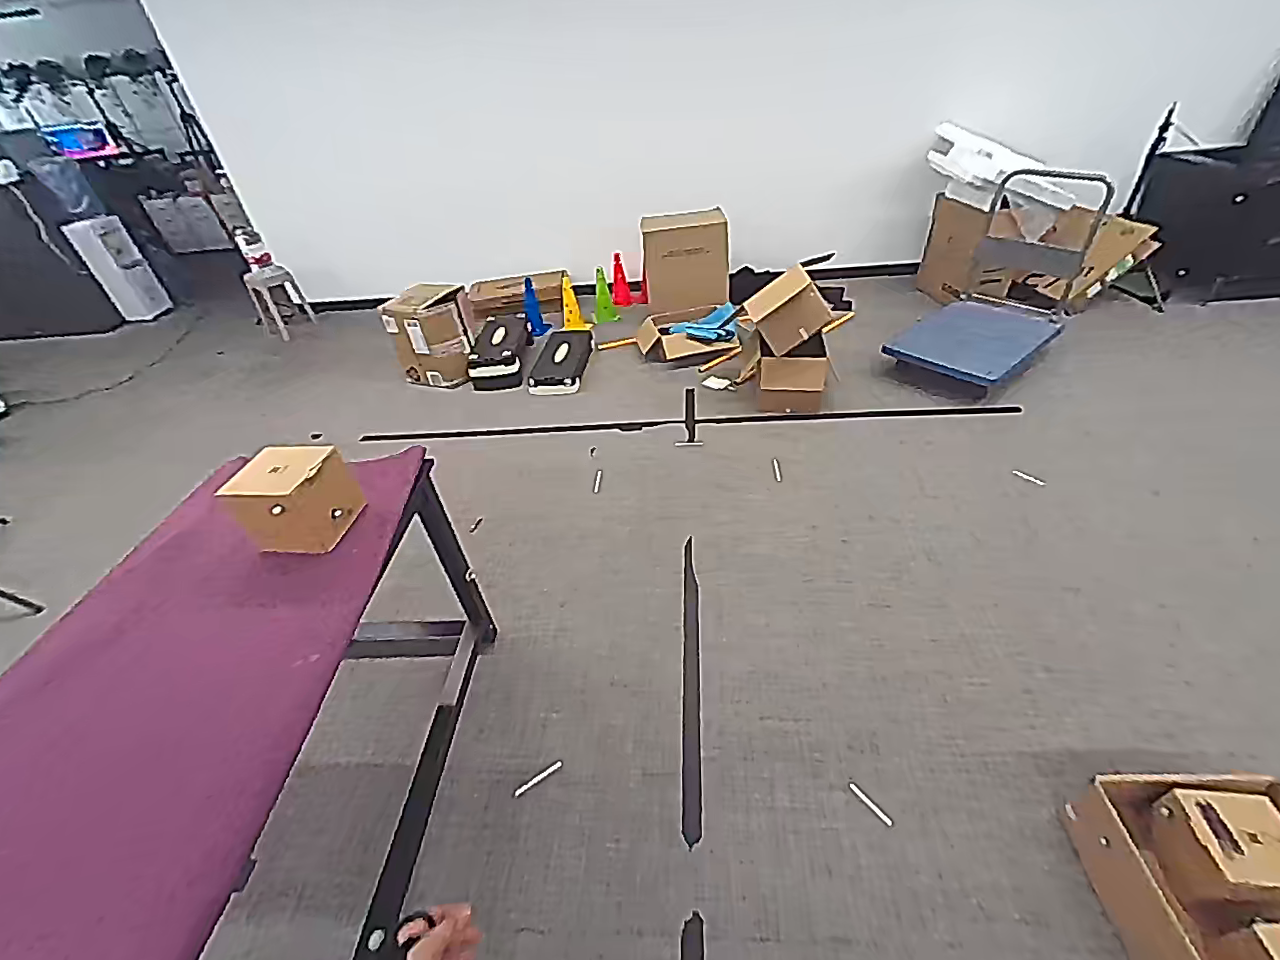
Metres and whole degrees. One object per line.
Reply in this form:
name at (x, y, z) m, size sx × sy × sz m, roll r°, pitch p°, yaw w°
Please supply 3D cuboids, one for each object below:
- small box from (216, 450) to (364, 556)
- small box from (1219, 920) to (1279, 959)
small box at (-0.746, 0.051, 1.175) m, size 0.179 × 0.176 × 0.168 m, roll -1°, pitch 39°, yaw 9°
small box at (1.193, 0.899, 0.949) m, size 0.179 × 0.176 × 0.168 m, roll -4°, pitch 39°, yaw 4°
